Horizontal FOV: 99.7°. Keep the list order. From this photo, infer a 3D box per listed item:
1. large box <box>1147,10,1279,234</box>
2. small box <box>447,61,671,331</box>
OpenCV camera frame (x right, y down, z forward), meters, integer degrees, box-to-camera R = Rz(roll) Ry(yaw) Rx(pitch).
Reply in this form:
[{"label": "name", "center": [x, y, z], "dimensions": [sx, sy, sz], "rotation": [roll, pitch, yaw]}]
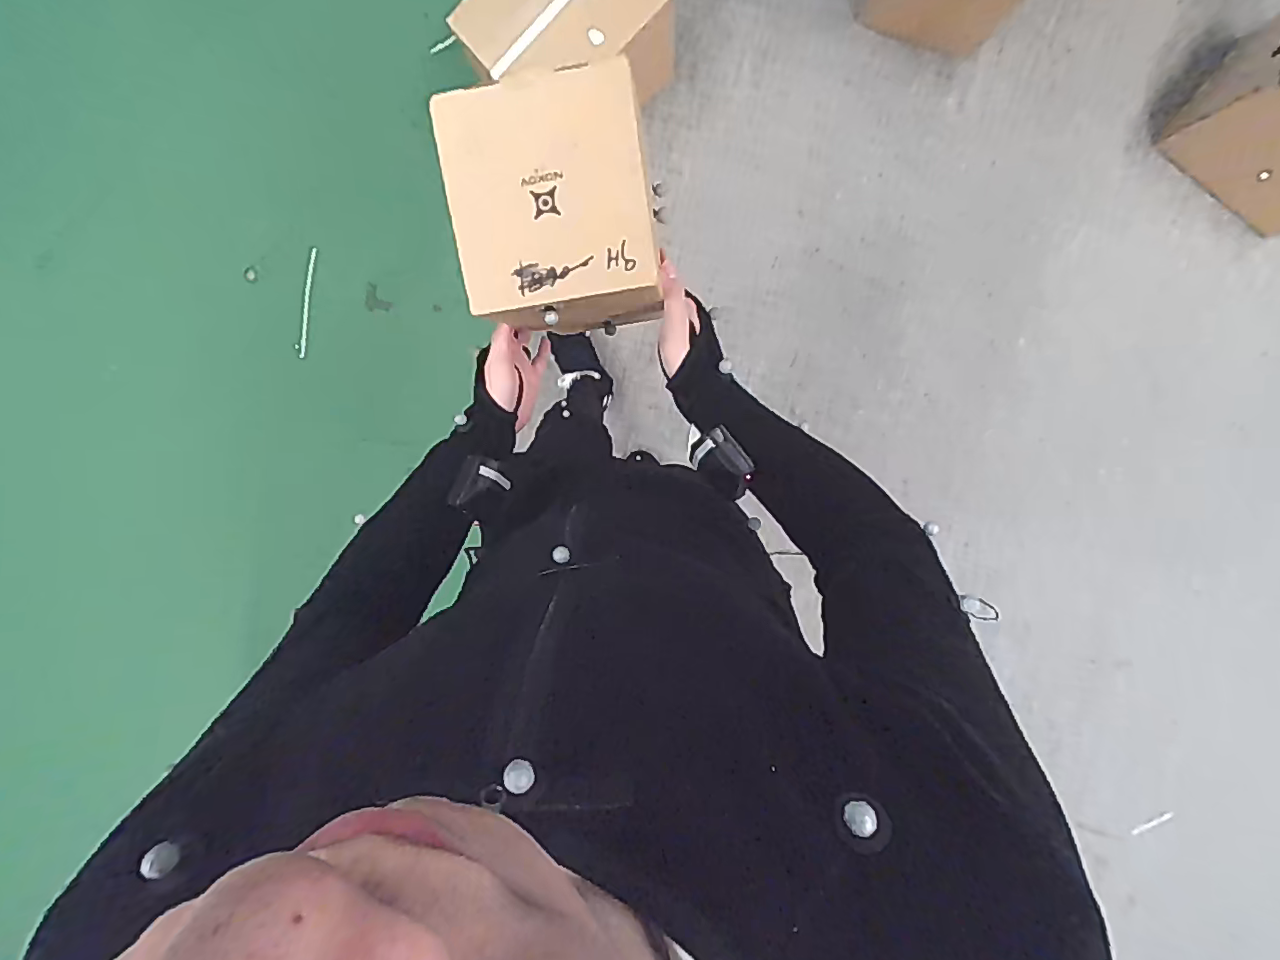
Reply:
[{"label": "large box", "center": [1.559, -0.853, 1.252], "dimensions": [0.408, 0.320, 0.320], "rotation": [36, 99, -2]}, {"label": "small box", "center": [-0.061, -0.250, 0.522], "dimensions": [0.168, 0.176, 0.179], "rotation": [-6, 100, 6]}]
